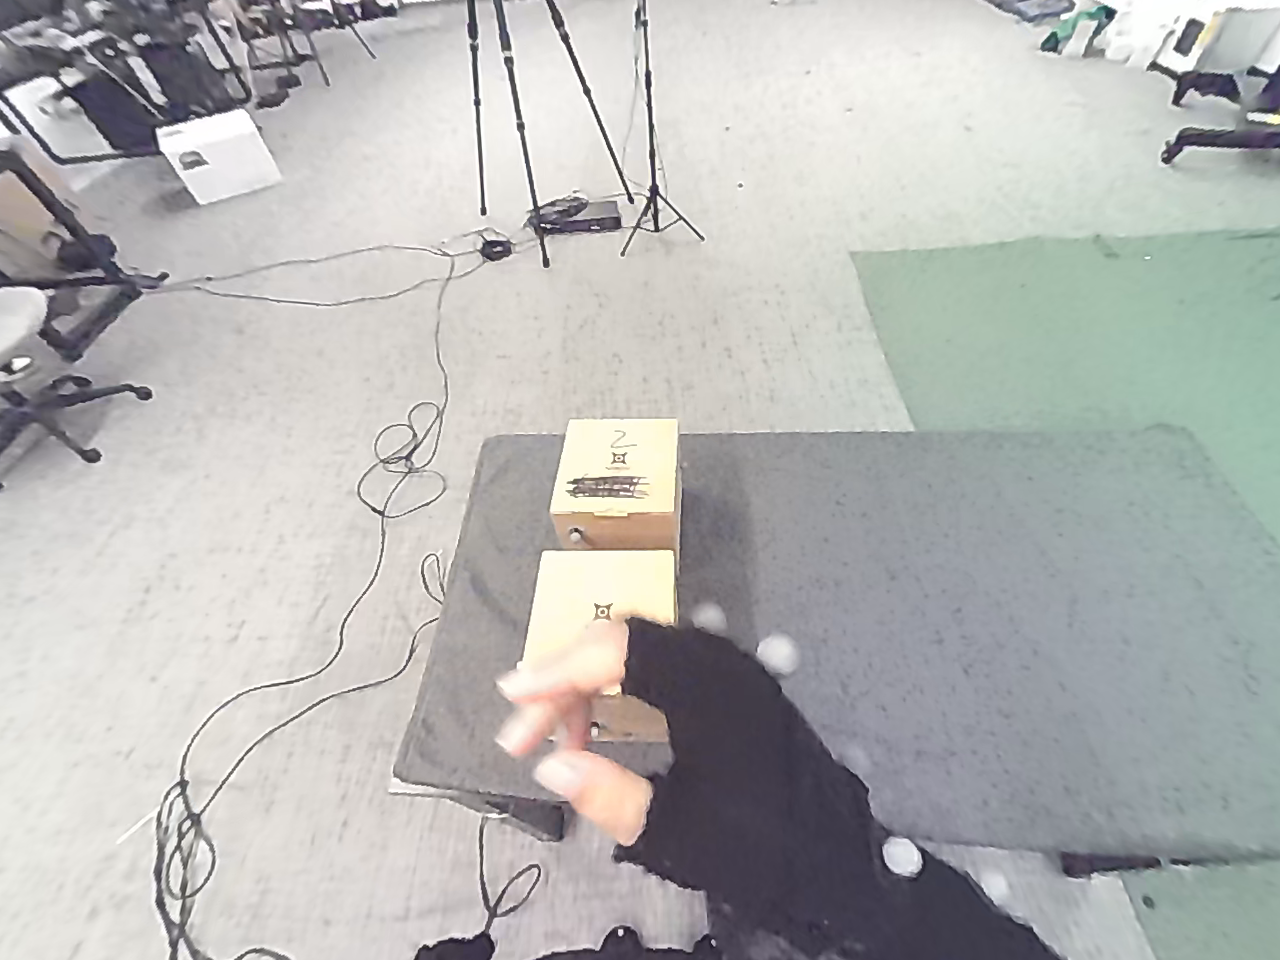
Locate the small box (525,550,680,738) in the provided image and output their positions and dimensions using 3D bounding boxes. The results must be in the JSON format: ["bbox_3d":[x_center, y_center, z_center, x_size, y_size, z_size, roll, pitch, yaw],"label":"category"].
[{"bbox_3d":[-0.034,0.206,0.679,0.168,0.176,0.179,-1,50,4],"label":"small box"}]
